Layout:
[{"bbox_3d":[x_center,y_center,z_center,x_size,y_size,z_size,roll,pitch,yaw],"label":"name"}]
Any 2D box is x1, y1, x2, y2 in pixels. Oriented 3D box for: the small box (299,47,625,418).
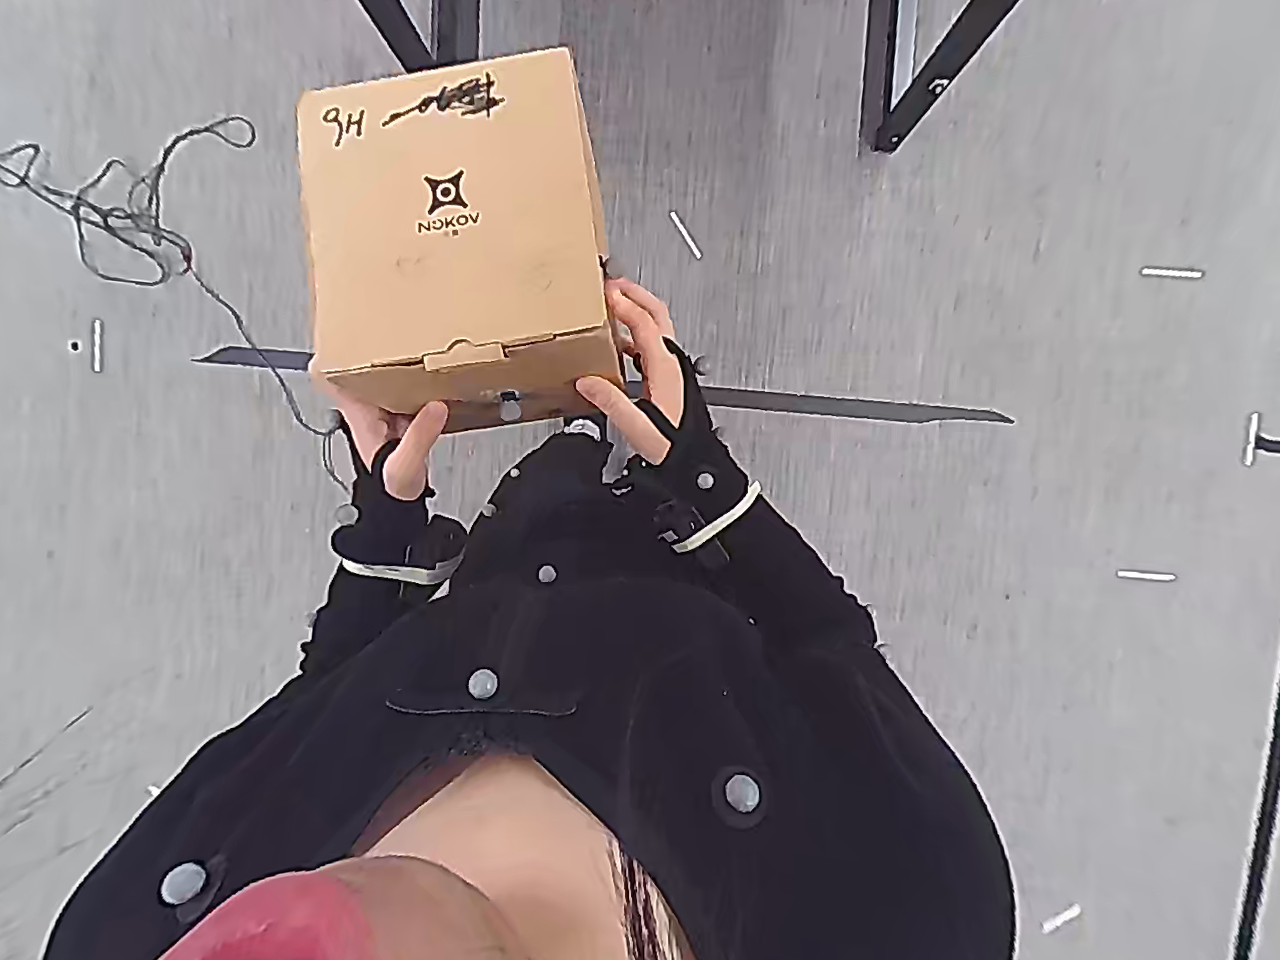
[{"bbox_3d":[-0.106,-0.148,0.389,0.168,0.176,0.179,-8,84,2],"label":"small box"}]
